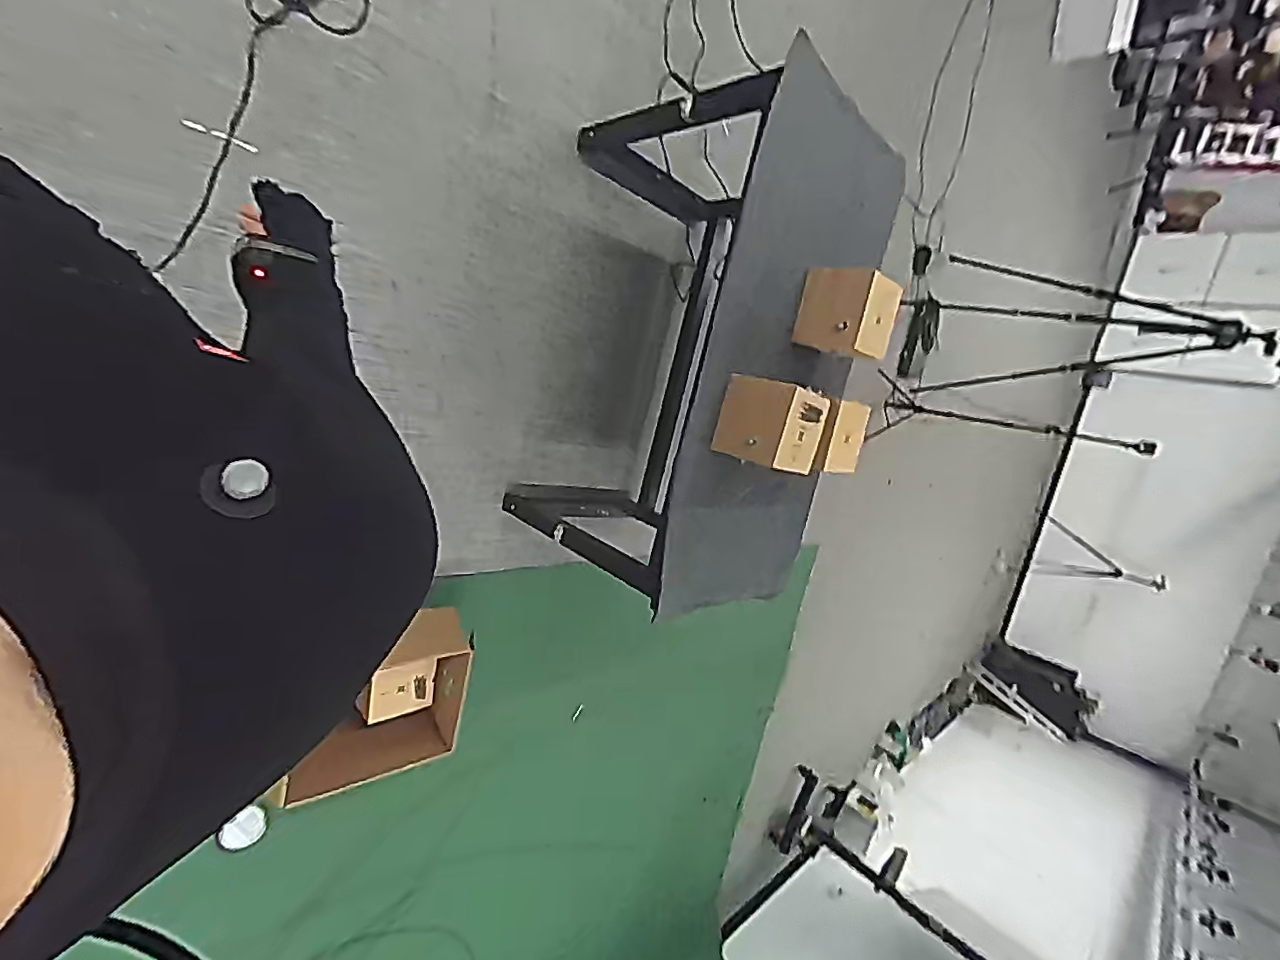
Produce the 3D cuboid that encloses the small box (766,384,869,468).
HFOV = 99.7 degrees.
[{"bbox_3d":[0.443,-0.135,1.366,0.168,0.176,0.179,0,106,-44],"label":"small box"}]

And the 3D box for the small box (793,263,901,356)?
[{"bbox_3d":[0.492,-0.409,1.300,0.168,0.176,0.179,1,106,-45],"label":"small box"}]
